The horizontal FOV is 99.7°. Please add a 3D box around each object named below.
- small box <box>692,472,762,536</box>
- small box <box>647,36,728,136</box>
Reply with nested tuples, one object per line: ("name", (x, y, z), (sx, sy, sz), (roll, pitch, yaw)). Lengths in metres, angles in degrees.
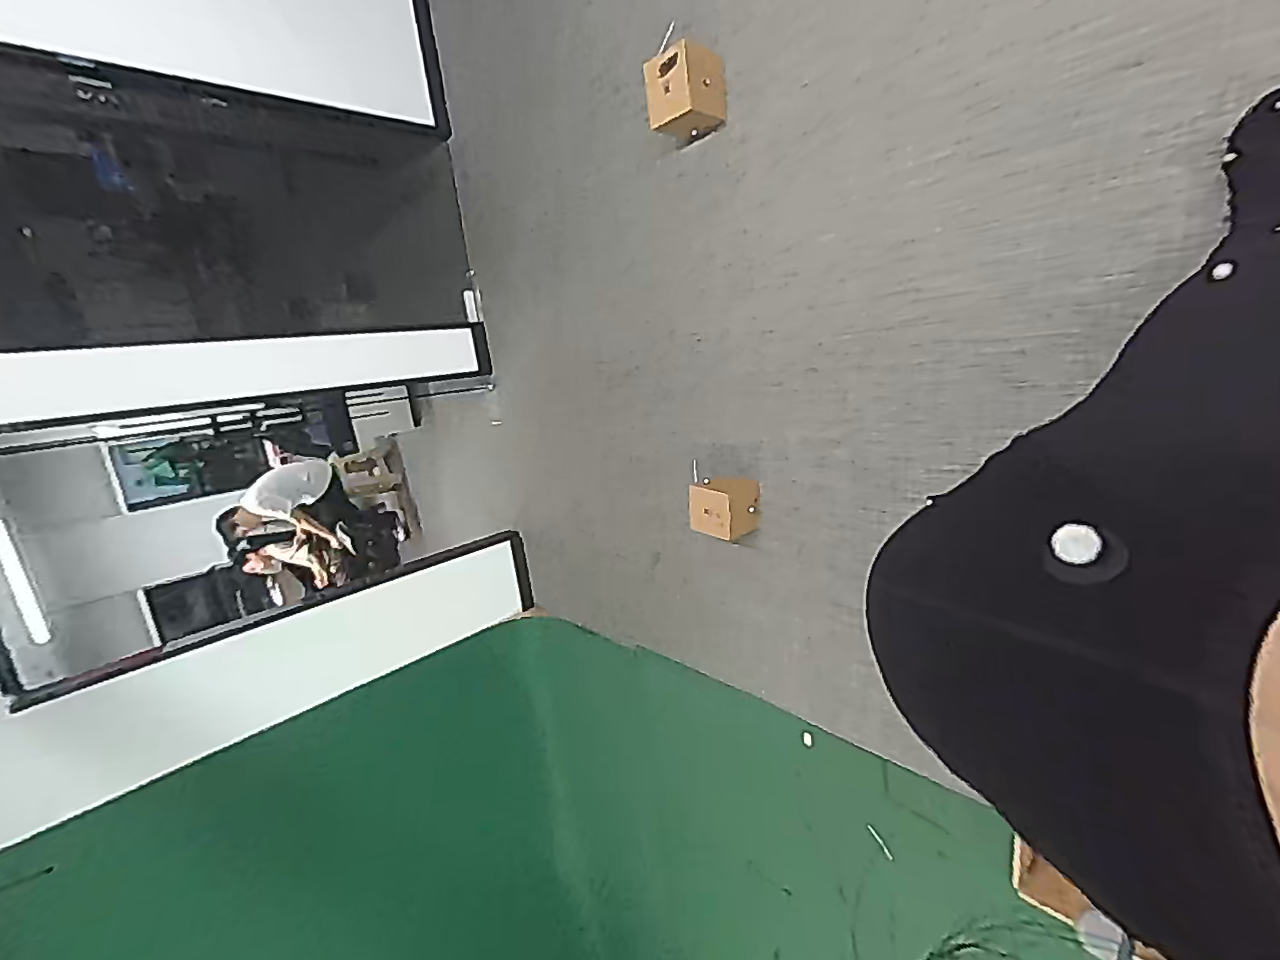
("small box", (0.300, 0.076, 1.870), (0.179, 0.176, 0.168), (14, 115, 45))
("small box", (0.143, -1.157, 1.603), (0.168, 0.176, 0.179), (8, 111, 46))
